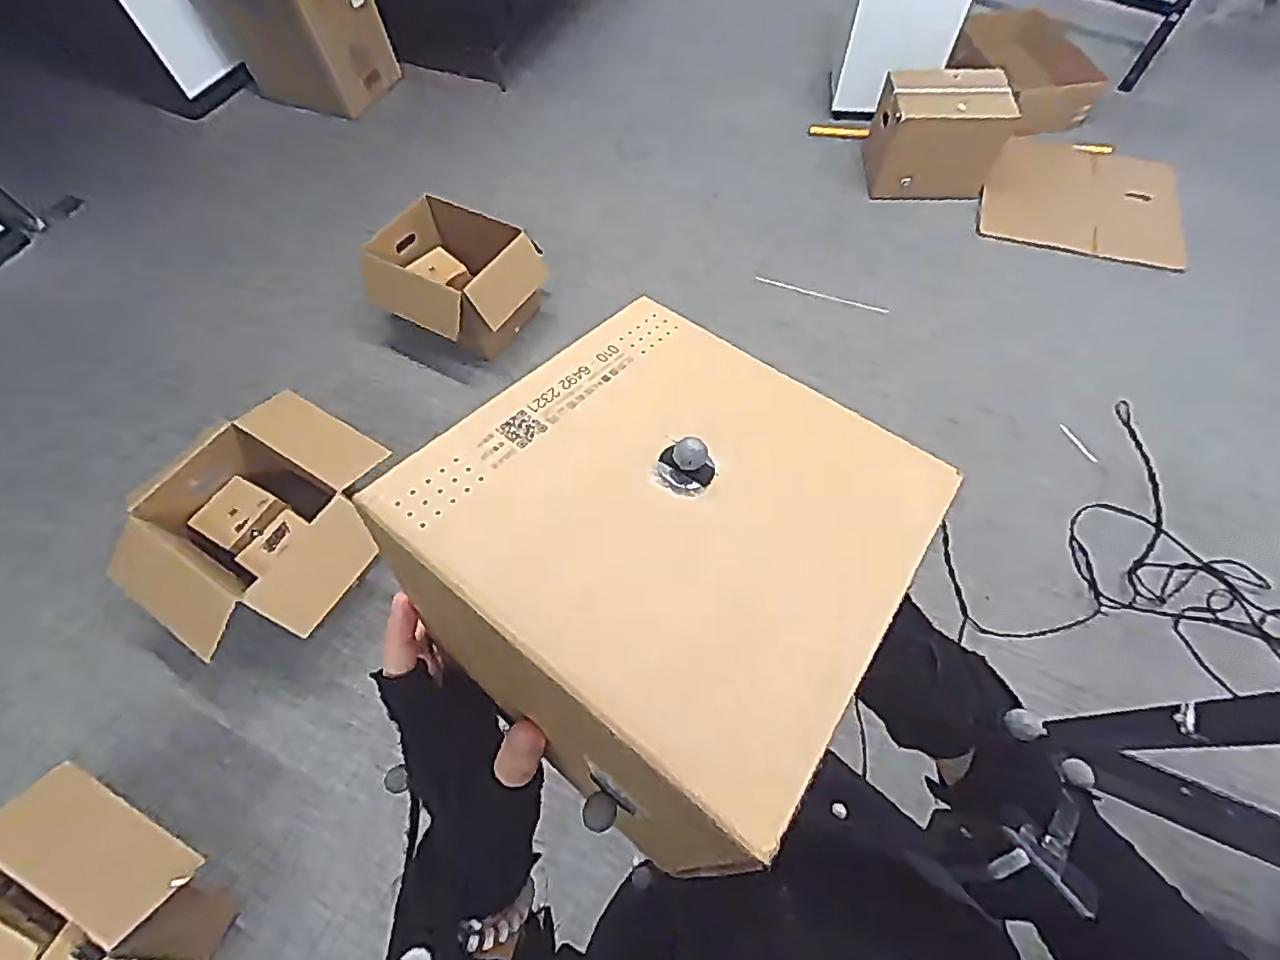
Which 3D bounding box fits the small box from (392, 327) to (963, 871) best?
[{"bbox_3d":[0.011,0.049,0.267,0.176,0.179,0.168,34,56,18],"label":"small box"}]
